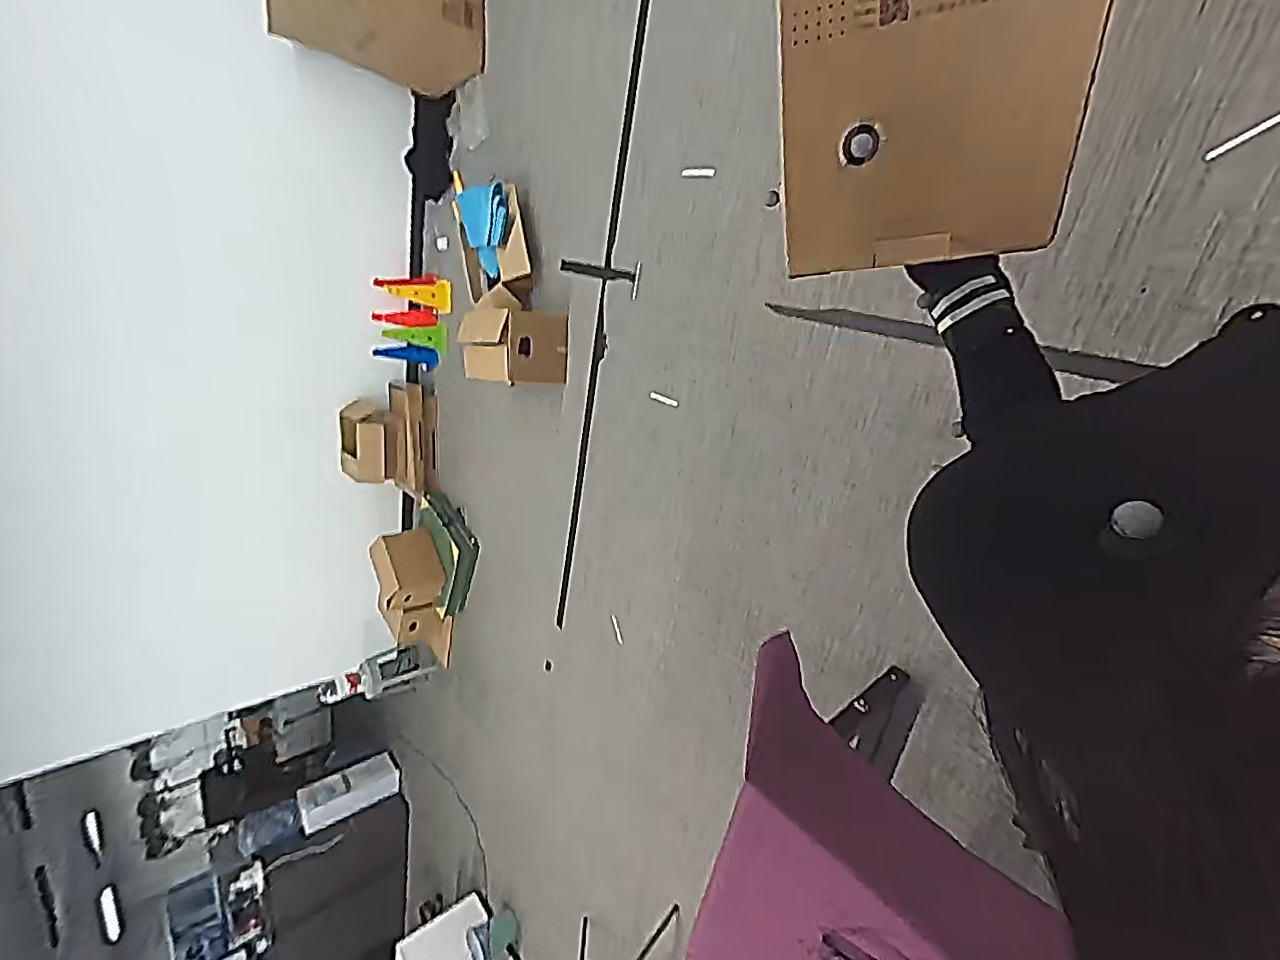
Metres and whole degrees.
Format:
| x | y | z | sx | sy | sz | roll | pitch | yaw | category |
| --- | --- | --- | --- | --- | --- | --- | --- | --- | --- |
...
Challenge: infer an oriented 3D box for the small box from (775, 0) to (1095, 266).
| x | y | z | sx | sy | sz | roll | pitch | yaw | category |
| --- | --- | --- | --- | --- | --- | --- | --- | --- | --- |
| 0.185 | -0.272 | 0.382 | 0.168 | 0.179 | 0.176 | 0 | 128 | 17 | small box |
